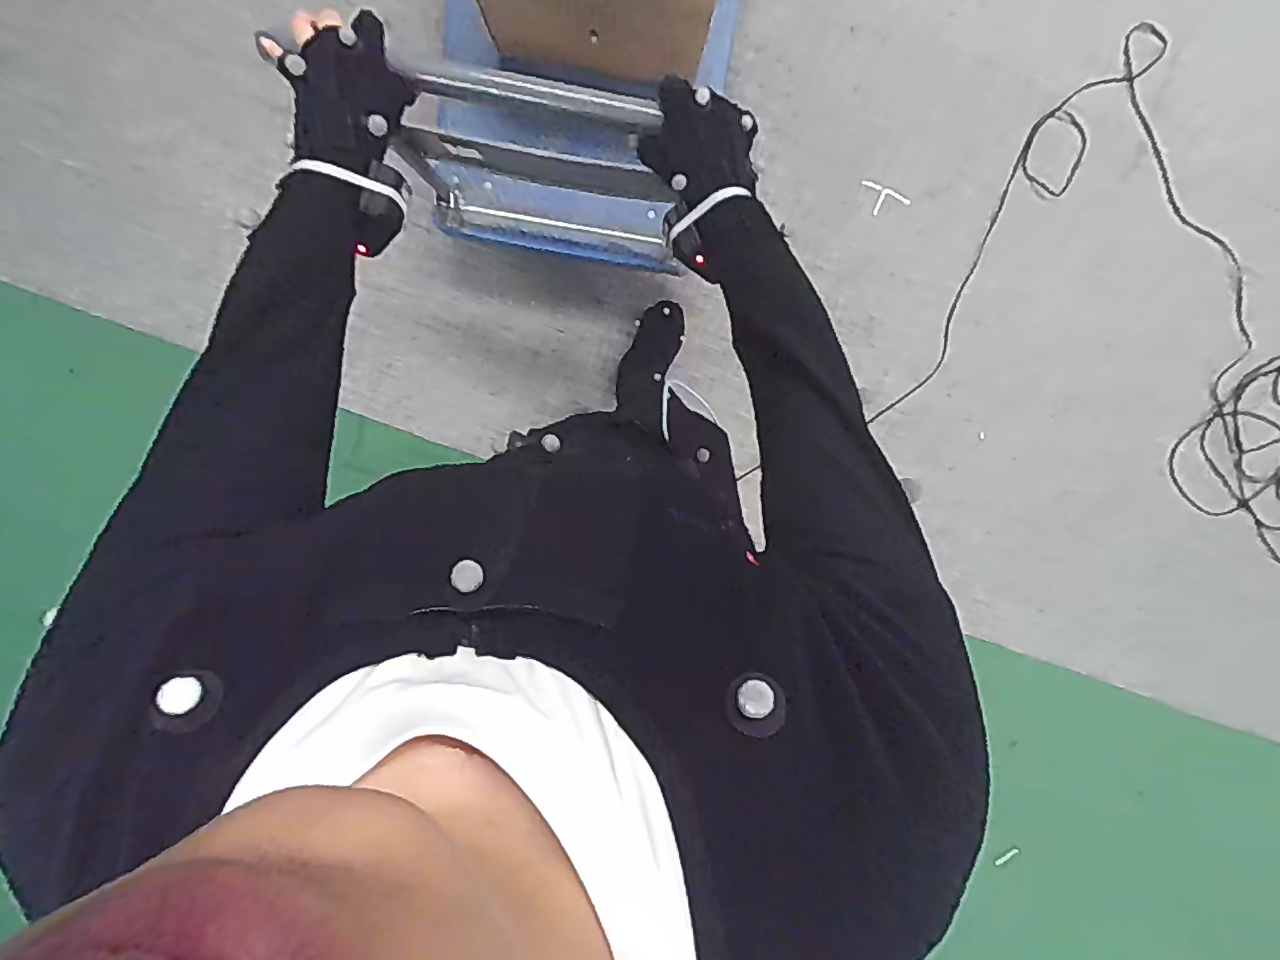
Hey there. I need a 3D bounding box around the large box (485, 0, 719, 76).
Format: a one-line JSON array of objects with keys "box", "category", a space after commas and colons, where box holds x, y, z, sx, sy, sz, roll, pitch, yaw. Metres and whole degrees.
[{"box": [-0.056, -0.961, 0.928, 0.408, 0.320, 0.320, 7, 103, -3], "category": "large box"}]
